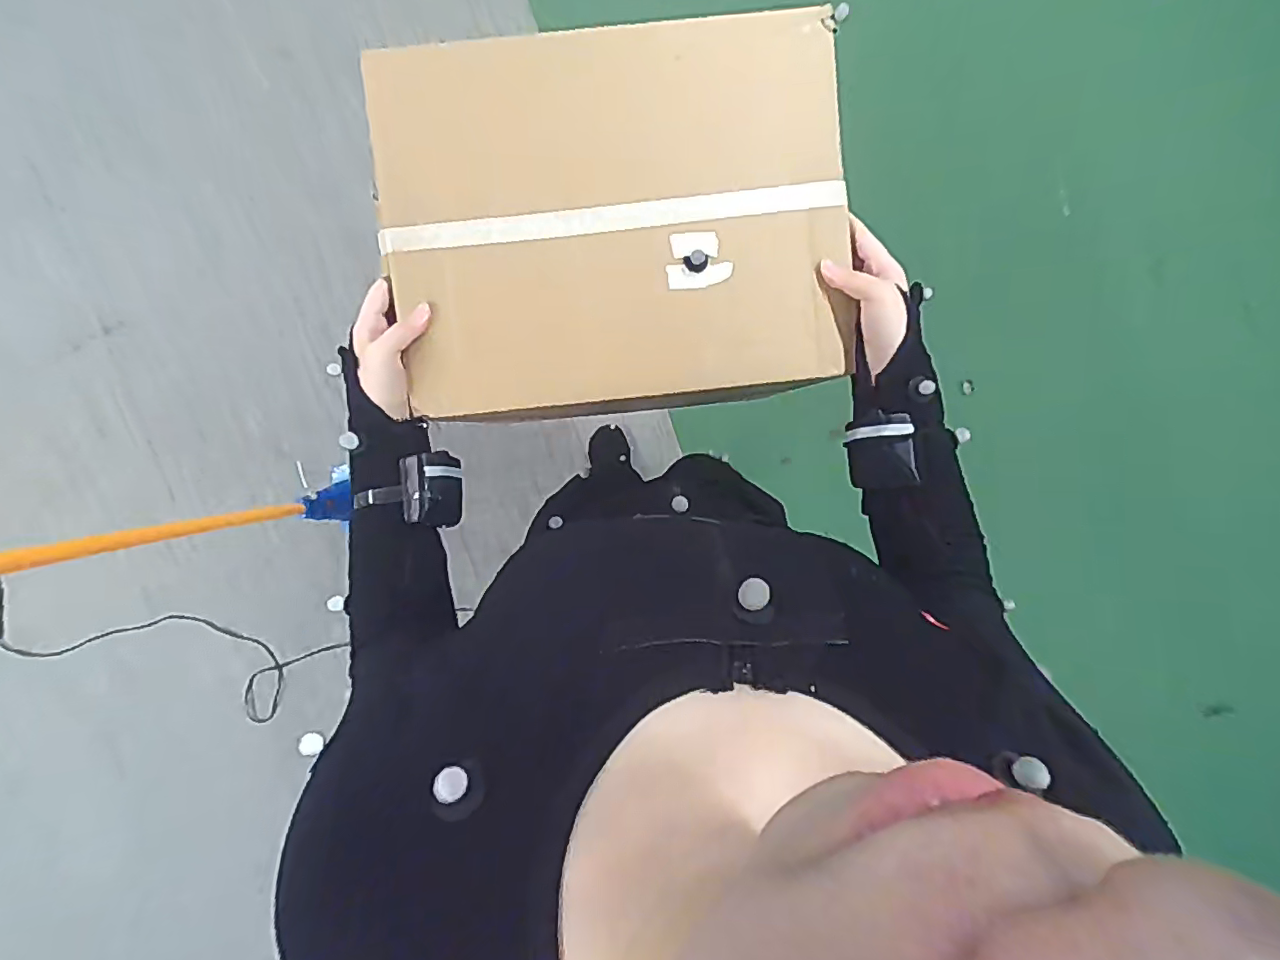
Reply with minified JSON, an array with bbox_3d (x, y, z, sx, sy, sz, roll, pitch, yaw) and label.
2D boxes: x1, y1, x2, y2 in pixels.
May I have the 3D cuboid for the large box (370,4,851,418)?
[{"bbox_3d":[-0.026,-0.253,0.628,0.408,0.320,0.320,-7,96,-2],"label":"large box"}]

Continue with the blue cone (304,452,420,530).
[{"bbox_3d":[-0.697,0.039,1.297,0.192,0.380,0.193,-11,93,-3],"label":"blue cone"}]
